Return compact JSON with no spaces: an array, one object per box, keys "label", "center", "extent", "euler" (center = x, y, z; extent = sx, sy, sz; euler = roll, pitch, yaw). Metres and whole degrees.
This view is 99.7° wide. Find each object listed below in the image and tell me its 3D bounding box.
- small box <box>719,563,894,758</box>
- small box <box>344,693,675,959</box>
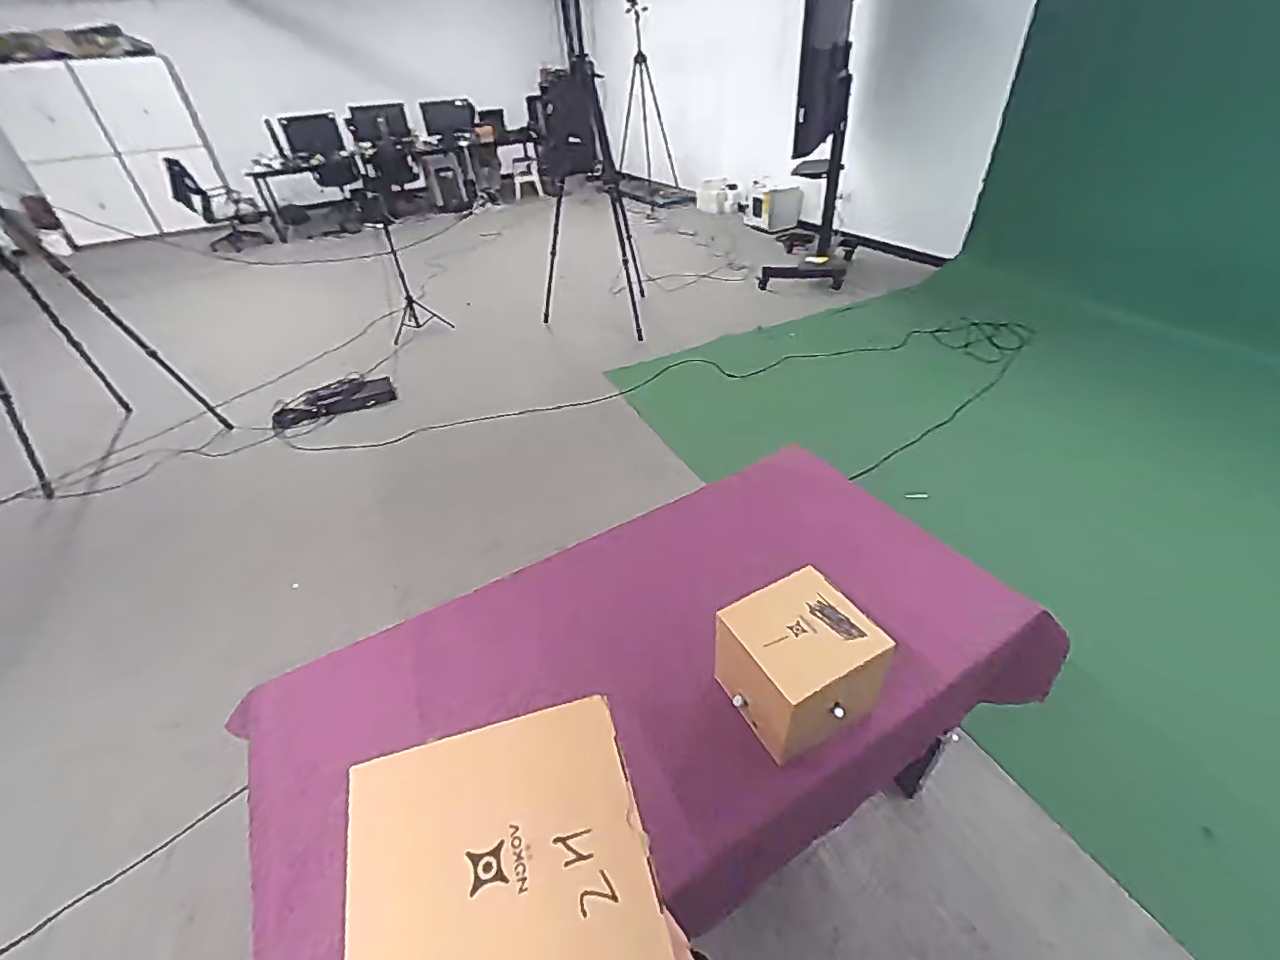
[{"label":"small box","center":[0.227,0.259,0.784],"extent":[0.179,0.176,0.168],"euler":[-22,41,-18]},{"label":"small box","center":[-0.088,0.281,0.384],"extent":[0.179,0.176,0.168],"euler":[-10,51,-14]}]
